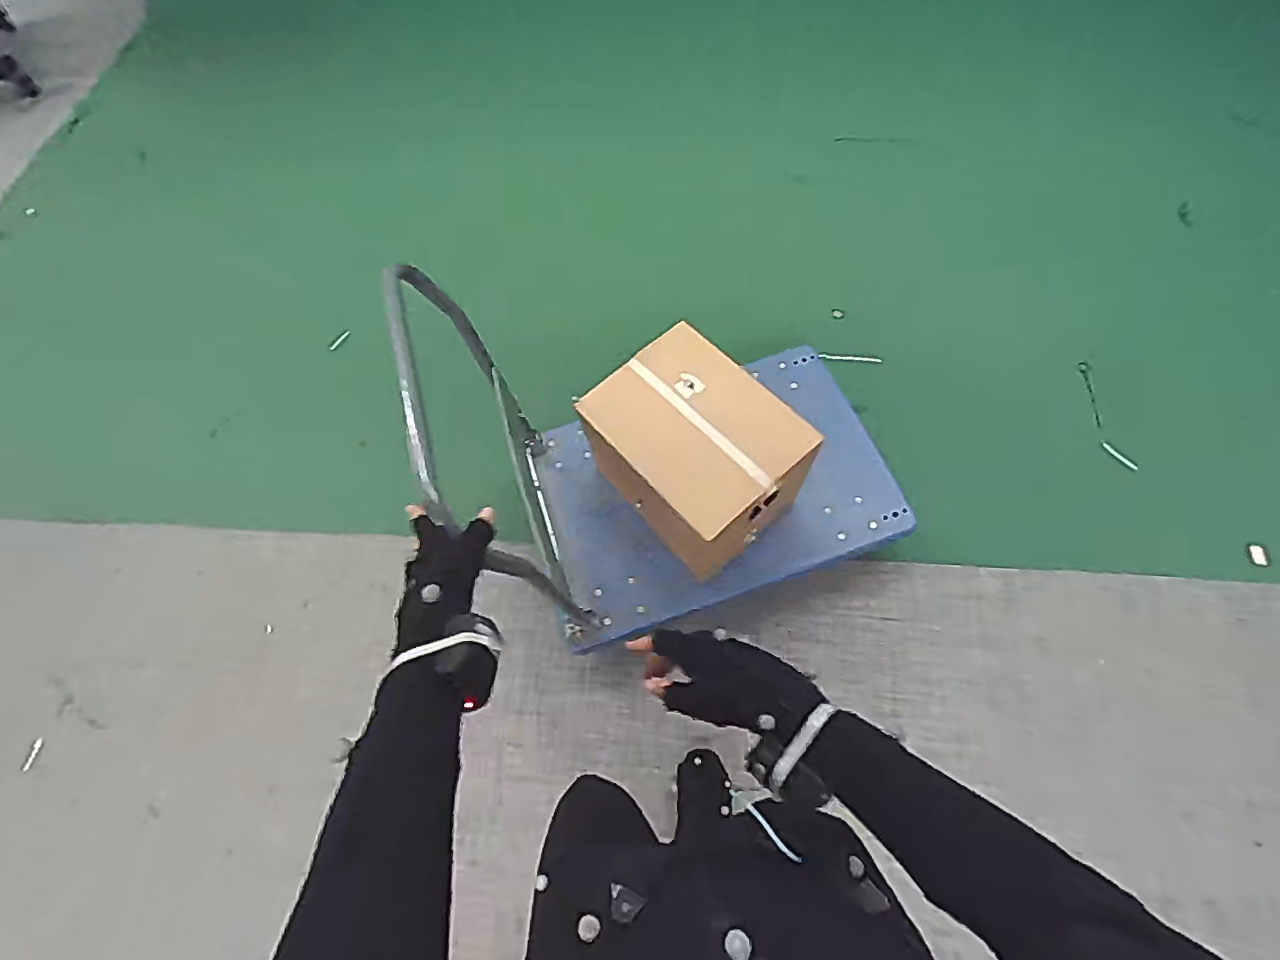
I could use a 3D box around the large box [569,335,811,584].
[{"bbox_3d":[0.109,-0.038,1.221,0.320,0.320,0.408,-39,67,-13],"label":"large box"}]
